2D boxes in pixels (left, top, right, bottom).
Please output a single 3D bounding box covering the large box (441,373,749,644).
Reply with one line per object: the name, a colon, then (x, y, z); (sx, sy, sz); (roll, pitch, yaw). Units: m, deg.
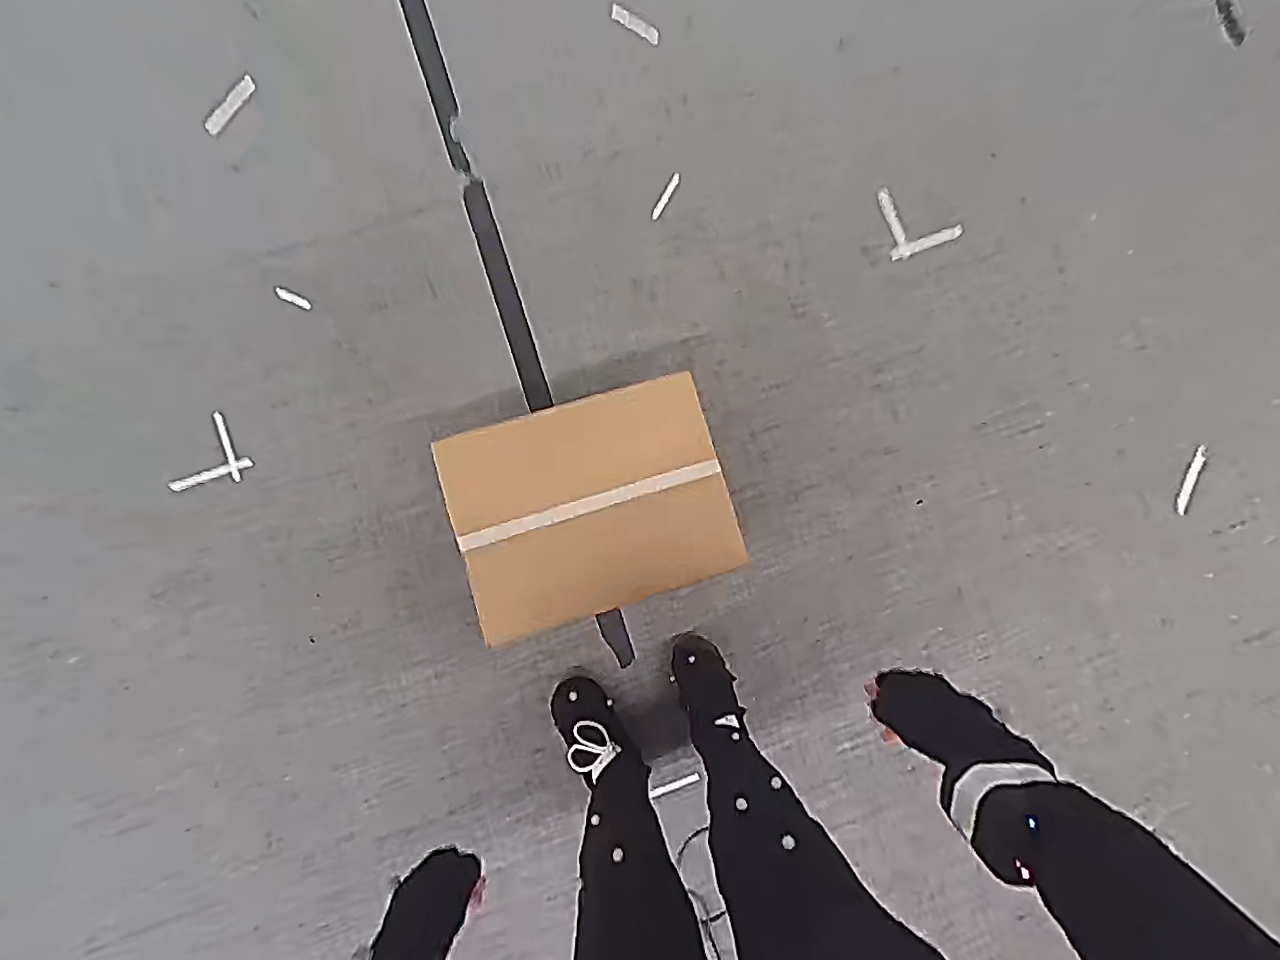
large box: (-0.076, 0.051, 0.958); (0.408, 0.320, 0.320); (-17, 87, -5)
